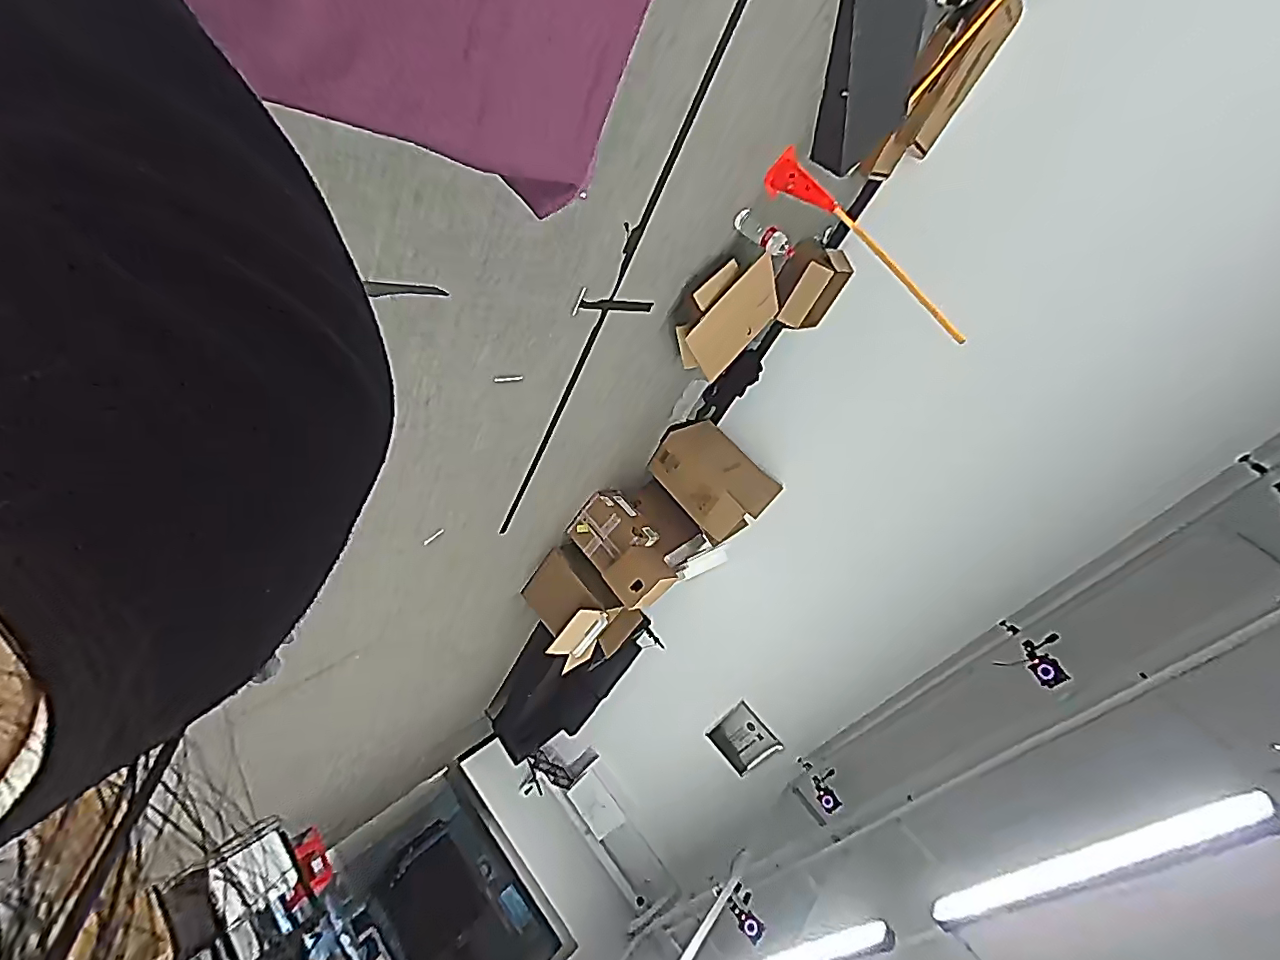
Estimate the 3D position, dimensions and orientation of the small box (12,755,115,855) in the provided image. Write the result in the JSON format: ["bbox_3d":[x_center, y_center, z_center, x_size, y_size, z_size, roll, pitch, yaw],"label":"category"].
[{"bbox_3d":[-1.759,0.985,1.653,0.179,0.176,0.168,-20,148,-49],"label":"small box"}]

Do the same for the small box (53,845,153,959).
[{"bbox_3d":[-1.539,1.206,1.548,0.179,0.176,0.168,-18,147,-53],"label":"small box"}]

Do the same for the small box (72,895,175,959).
[{"bbox_3d":[-1.431,1.314,1.495,0.179,0.176,0.168,-18,146,-53],"label":"small box"}]
